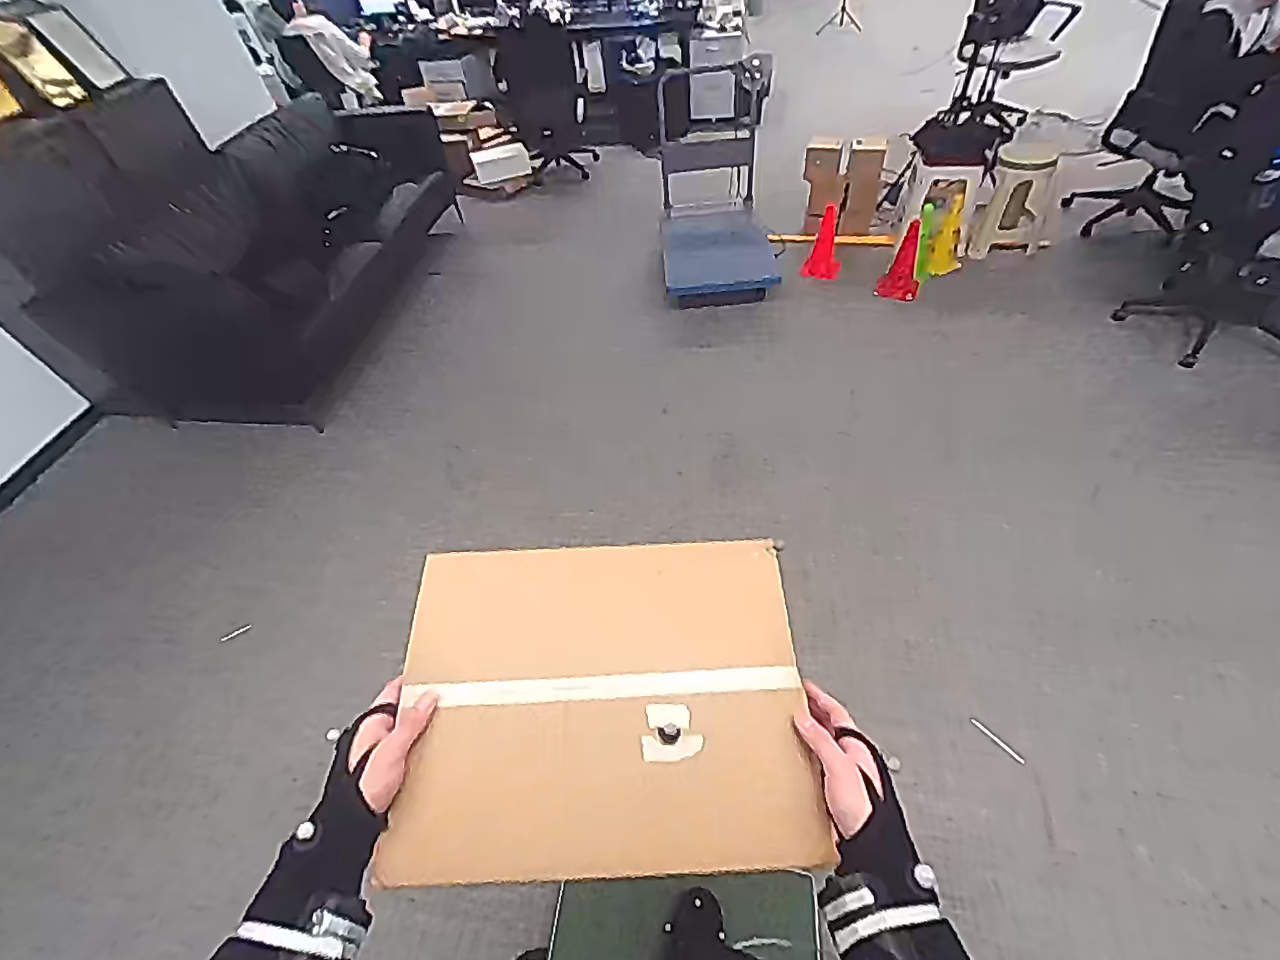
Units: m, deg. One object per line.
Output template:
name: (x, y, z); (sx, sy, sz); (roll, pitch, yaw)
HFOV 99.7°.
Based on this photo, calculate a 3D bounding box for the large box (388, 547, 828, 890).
large box: (-0.035, 0.300, 0.685); (0.408, 0.320, 0.320); (-2, 58, -1)
